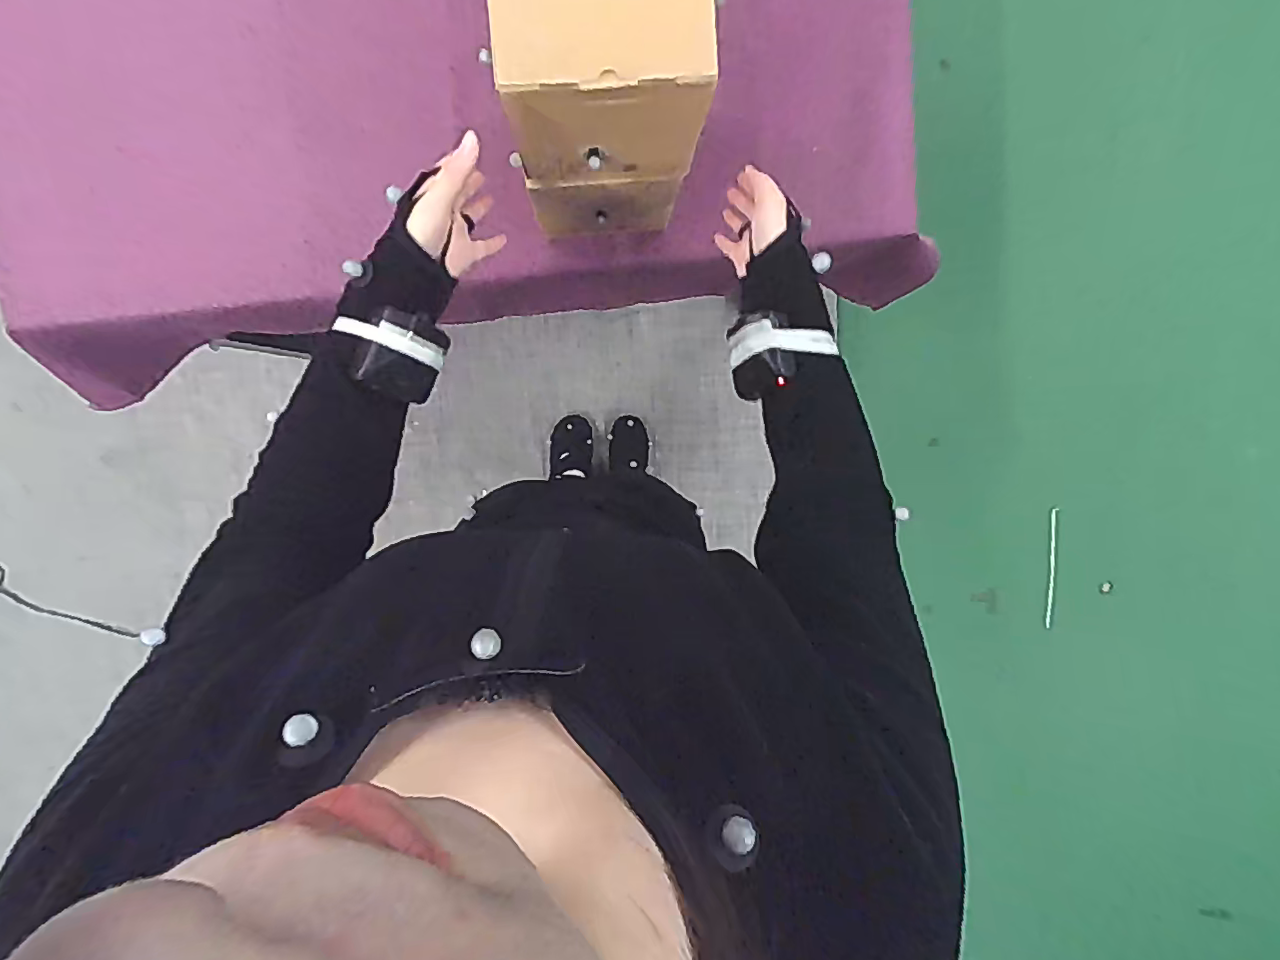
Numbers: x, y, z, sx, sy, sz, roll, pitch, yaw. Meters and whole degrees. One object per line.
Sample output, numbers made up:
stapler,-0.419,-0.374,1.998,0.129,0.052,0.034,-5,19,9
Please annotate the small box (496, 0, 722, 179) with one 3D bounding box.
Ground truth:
small box,-0.031,-0.388,0.467,0.168,0.176,0.179,-5,100,-3

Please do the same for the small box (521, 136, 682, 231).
small box,-0.047,-0.403,0.629,0.168,0.176,0.179,-6,98,-3
